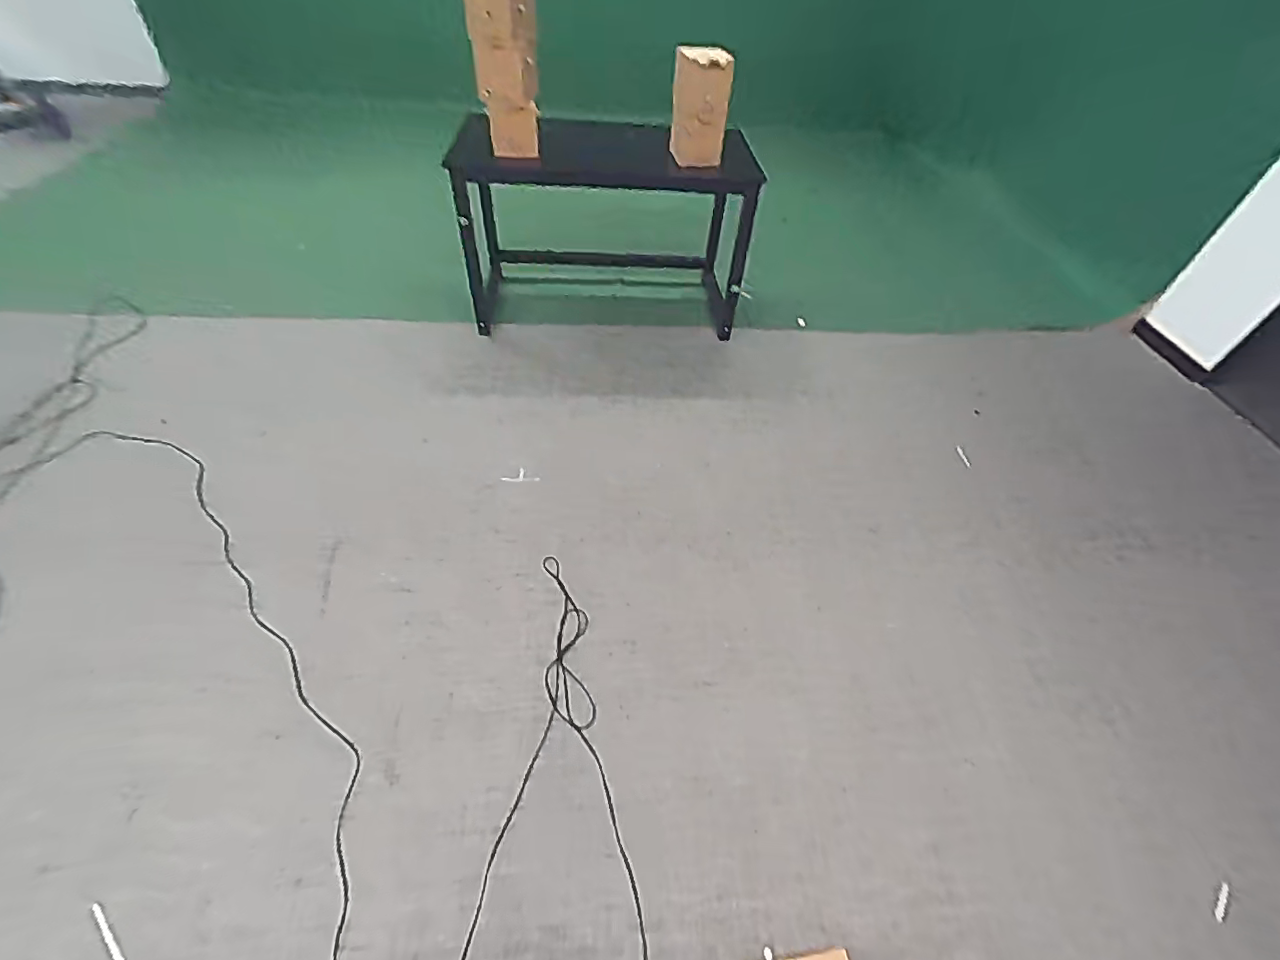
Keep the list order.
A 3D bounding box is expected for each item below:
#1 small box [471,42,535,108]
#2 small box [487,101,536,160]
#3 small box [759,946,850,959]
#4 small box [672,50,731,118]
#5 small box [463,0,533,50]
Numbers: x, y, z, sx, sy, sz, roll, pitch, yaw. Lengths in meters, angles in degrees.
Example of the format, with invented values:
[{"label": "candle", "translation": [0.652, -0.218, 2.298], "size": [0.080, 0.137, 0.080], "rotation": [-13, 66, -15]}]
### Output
[{"label": "small box", "translation": [-0.476, -1.441, 1.914], "size": [0.168, 0.176, 0.179], "rotation": [10, 48, 3]}, {"label": "small box", "translation": [-0.483, -1.332, 2.036], "size": [0.168, 0.176, 0.179], "rotation": [-6, 50, -11]}, {"label": "small box", "translation": [0.307, 0.991, 1.003], "size": [0.179, 0.176, 0.168], "rotation": [-4, 49, -9]}, {"label": "small box", "translation": [0.218, -1.444, 1.972], "size": [0.168, 0.176, 0.179], "rotation": [-6, 49, -9]}, {"label": "small box", "translation": [-0.467, -1.555, 1.795], "size": [0.168, 0.176, 0.179], "rotation": [19, 51, 10]}]
